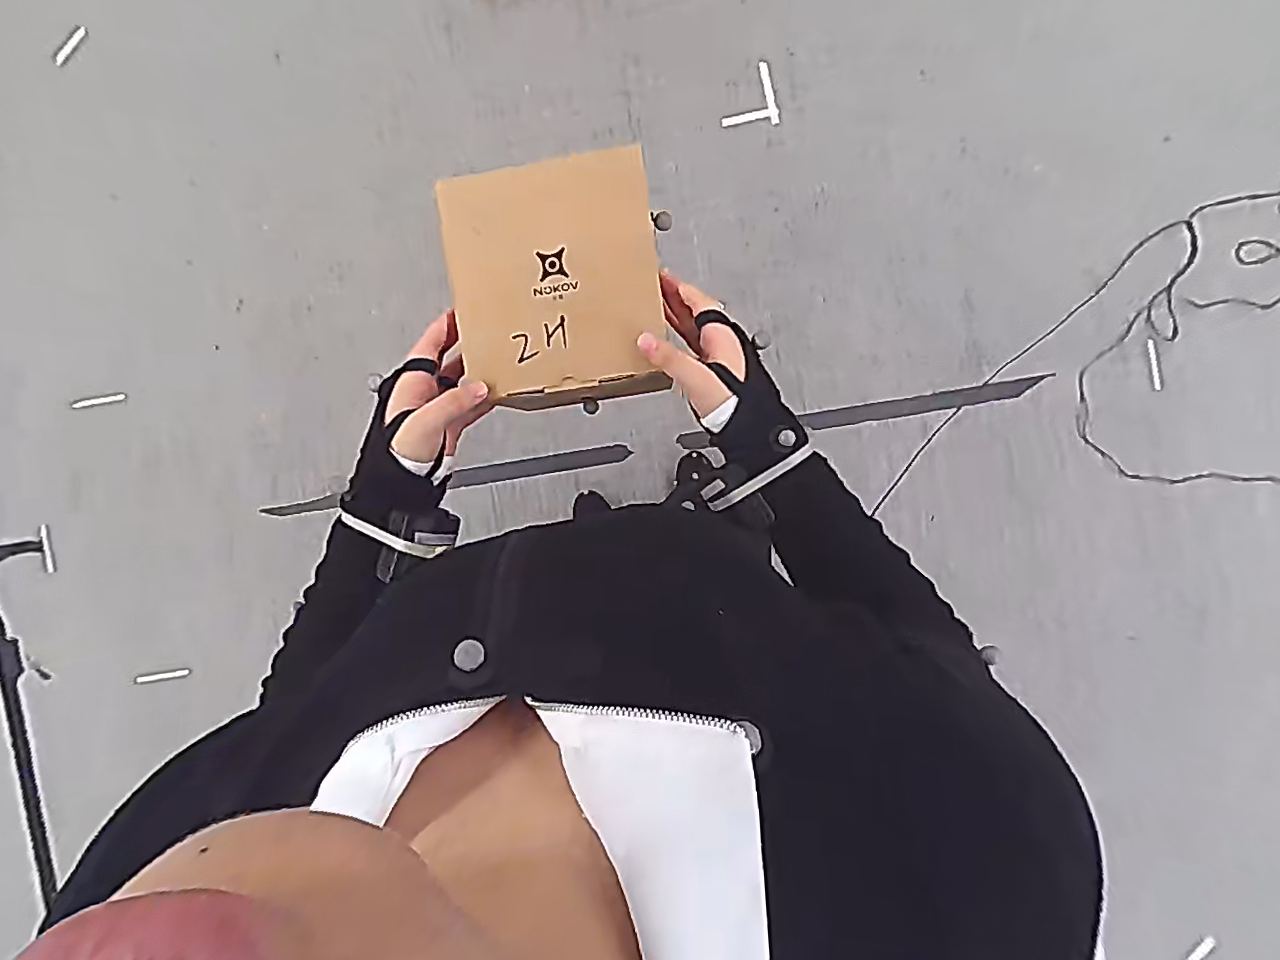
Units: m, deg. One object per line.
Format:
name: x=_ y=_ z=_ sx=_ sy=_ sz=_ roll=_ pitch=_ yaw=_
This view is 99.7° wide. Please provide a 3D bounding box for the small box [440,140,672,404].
small box: x=-0.063 y=-0.172 z=0.504 sx=0.168 sy=0.176 sz=0.179 roll=-8 pitch=94 yaw=4
